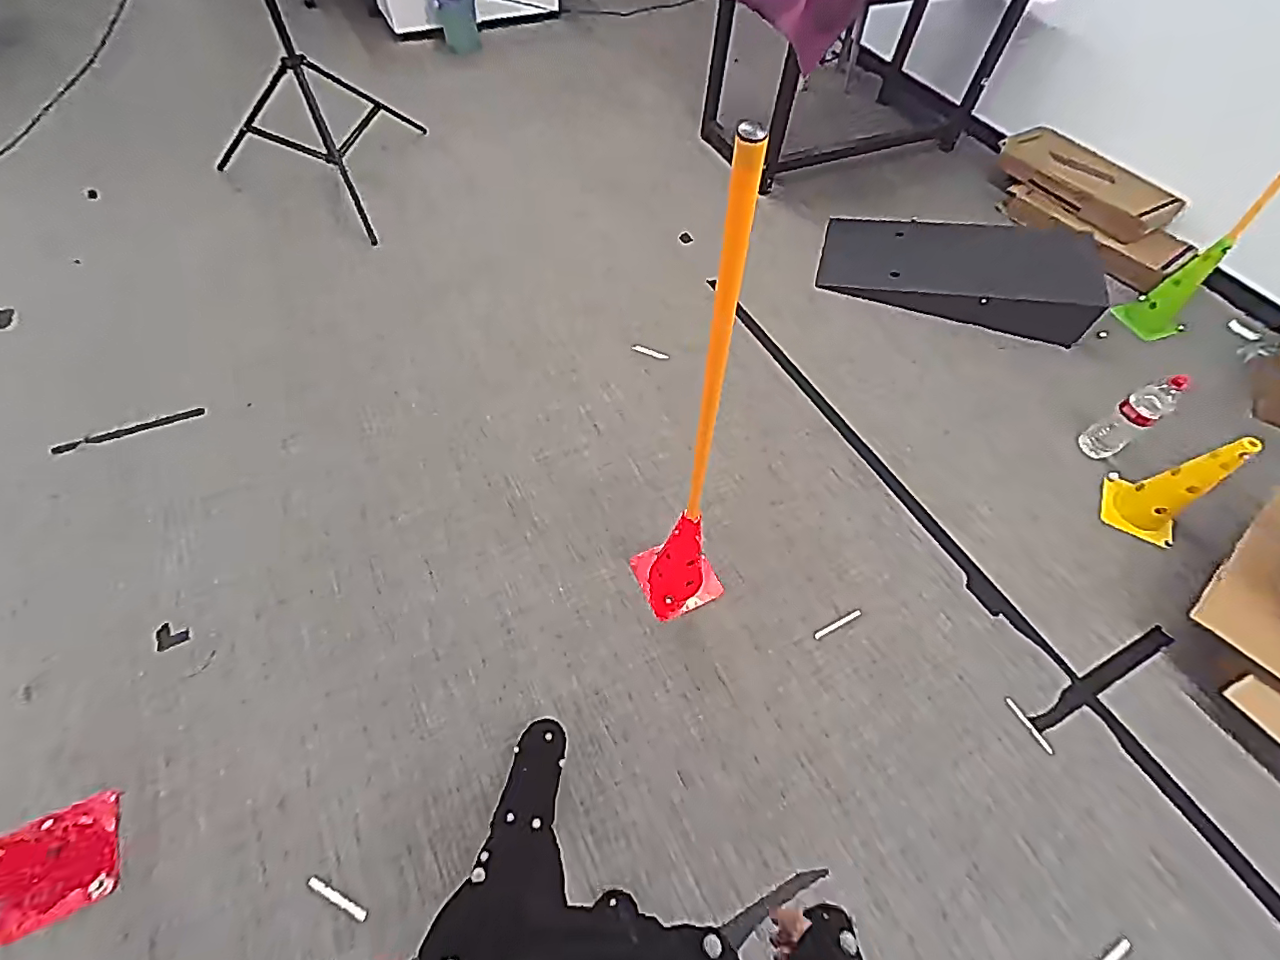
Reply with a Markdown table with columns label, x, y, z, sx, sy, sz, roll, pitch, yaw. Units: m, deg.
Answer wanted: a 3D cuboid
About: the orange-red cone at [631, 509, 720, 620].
| label | x | y | z | sx | sy | sz | roll | pitch | yaw |
| --- | --- | --- | --- | --- | --- | --- | --- | --- | --- |
| orange-red cone | 0.104 | 0.171 | 1.315 | 0.199 | 0.360 | 0.198 | -19 | 61 | -16 |
